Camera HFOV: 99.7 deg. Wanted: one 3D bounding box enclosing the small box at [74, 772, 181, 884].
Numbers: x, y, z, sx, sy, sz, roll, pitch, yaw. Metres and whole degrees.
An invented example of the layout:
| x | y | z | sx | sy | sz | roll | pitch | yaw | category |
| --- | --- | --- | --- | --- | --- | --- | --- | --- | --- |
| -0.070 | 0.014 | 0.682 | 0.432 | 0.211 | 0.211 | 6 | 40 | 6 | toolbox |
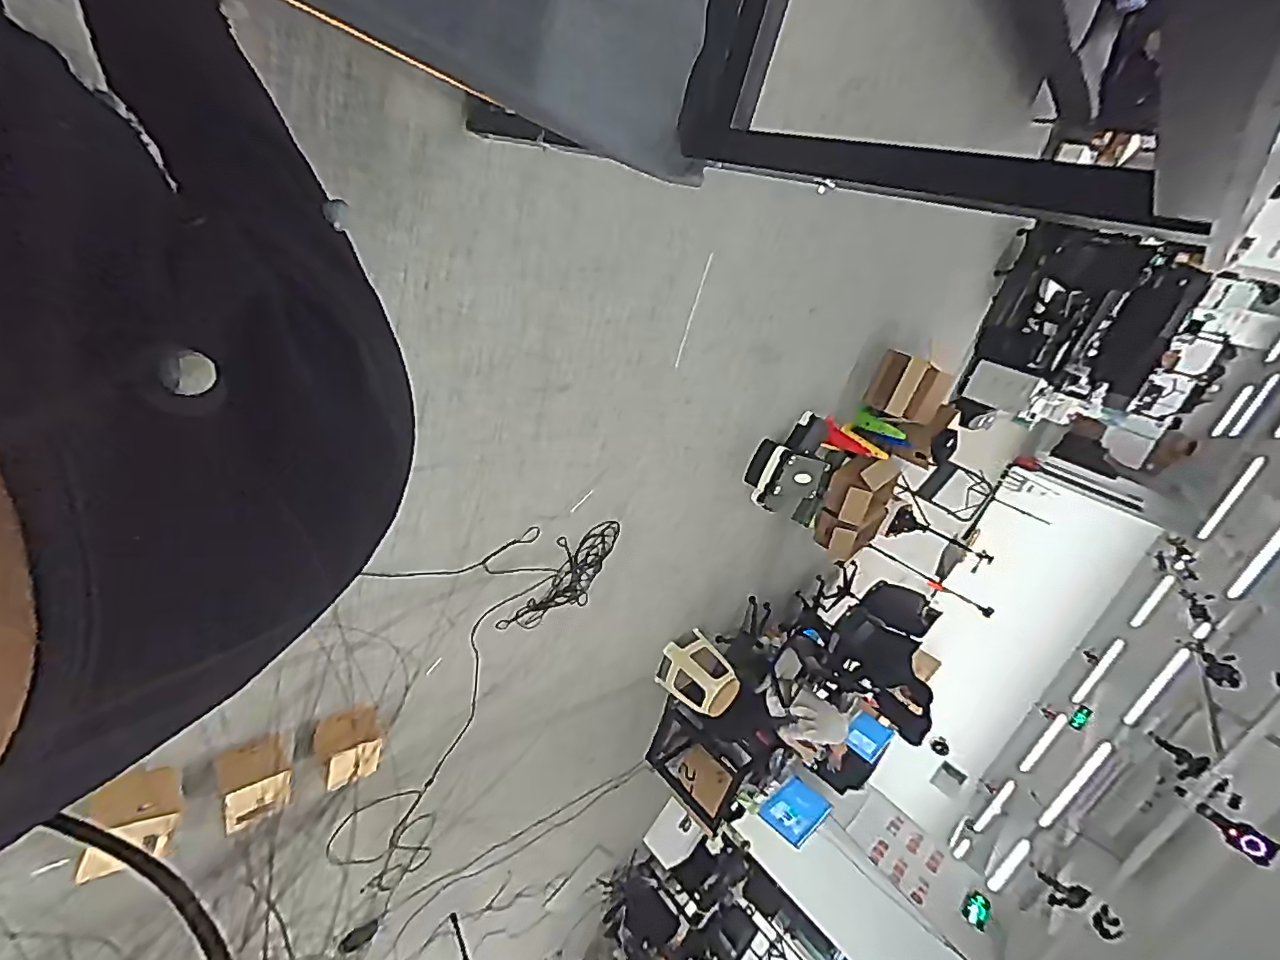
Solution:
| x | y | z | sx | sy | sz | roll | pitch | yaw | category |
| --- | --- | --- | --- | --- | --- | --- | --- | --- | --- |
| -1.405 | 0.939 | 1.481 | 0.179 | 0.176 | 0.168 | 16 | 103 | -52 | small box |

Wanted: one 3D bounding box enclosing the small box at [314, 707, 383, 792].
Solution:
| x | y | z | sx | sy | sz | roll | pitch | yaw | category |
| --- | --- | --- | --- | --- | --- | --- | --- | --- | --- |
| -1.038 | 0.950 | 1.919 | 0.168 | 0.176 | 0.179 | -5 | 120 | -48 | small box |
